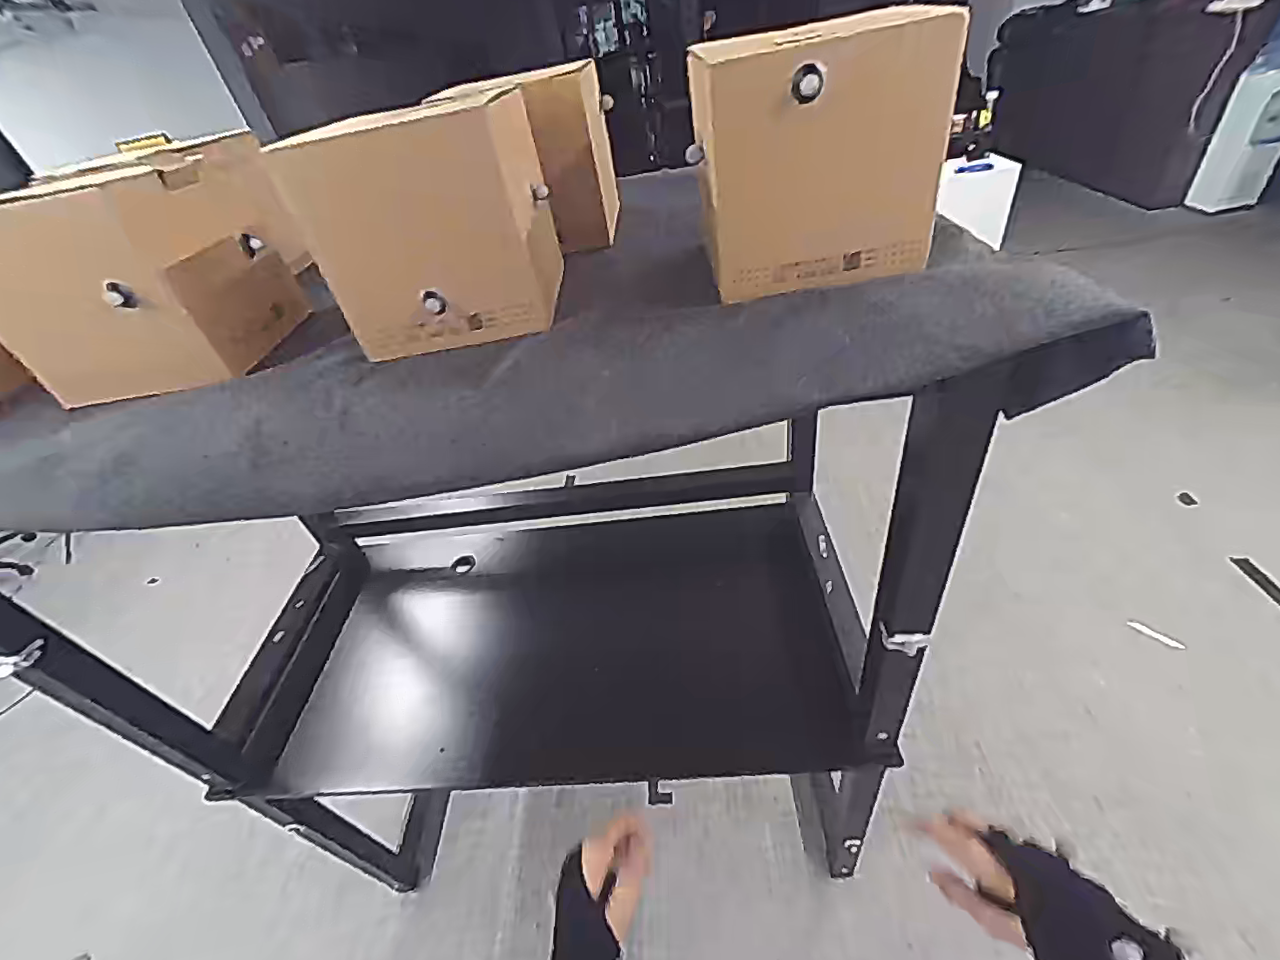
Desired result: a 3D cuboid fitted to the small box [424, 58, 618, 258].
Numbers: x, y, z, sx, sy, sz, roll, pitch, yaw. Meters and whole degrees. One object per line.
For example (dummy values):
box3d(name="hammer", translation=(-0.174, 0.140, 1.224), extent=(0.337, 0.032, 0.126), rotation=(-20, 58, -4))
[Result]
box3d(name="small box", translation=(-0.124, -0.384, 0.649), extent=(0.168, 0.176, 0.179), rotation=(-6, 40, 8))

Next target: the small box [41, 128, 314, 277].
box3d(name="small box", translation=(-0.565, -0.327, 0.695), extent=(0.168, 0.176, 0.179), rotation=(-7, 40, 6))

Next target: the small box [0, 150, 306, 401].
box3d(name="small box", translation=(-0.466, -0.193, 0.514), extent=(0.179, 0.176, 0.168), rotation=(-7, 38, 3))
